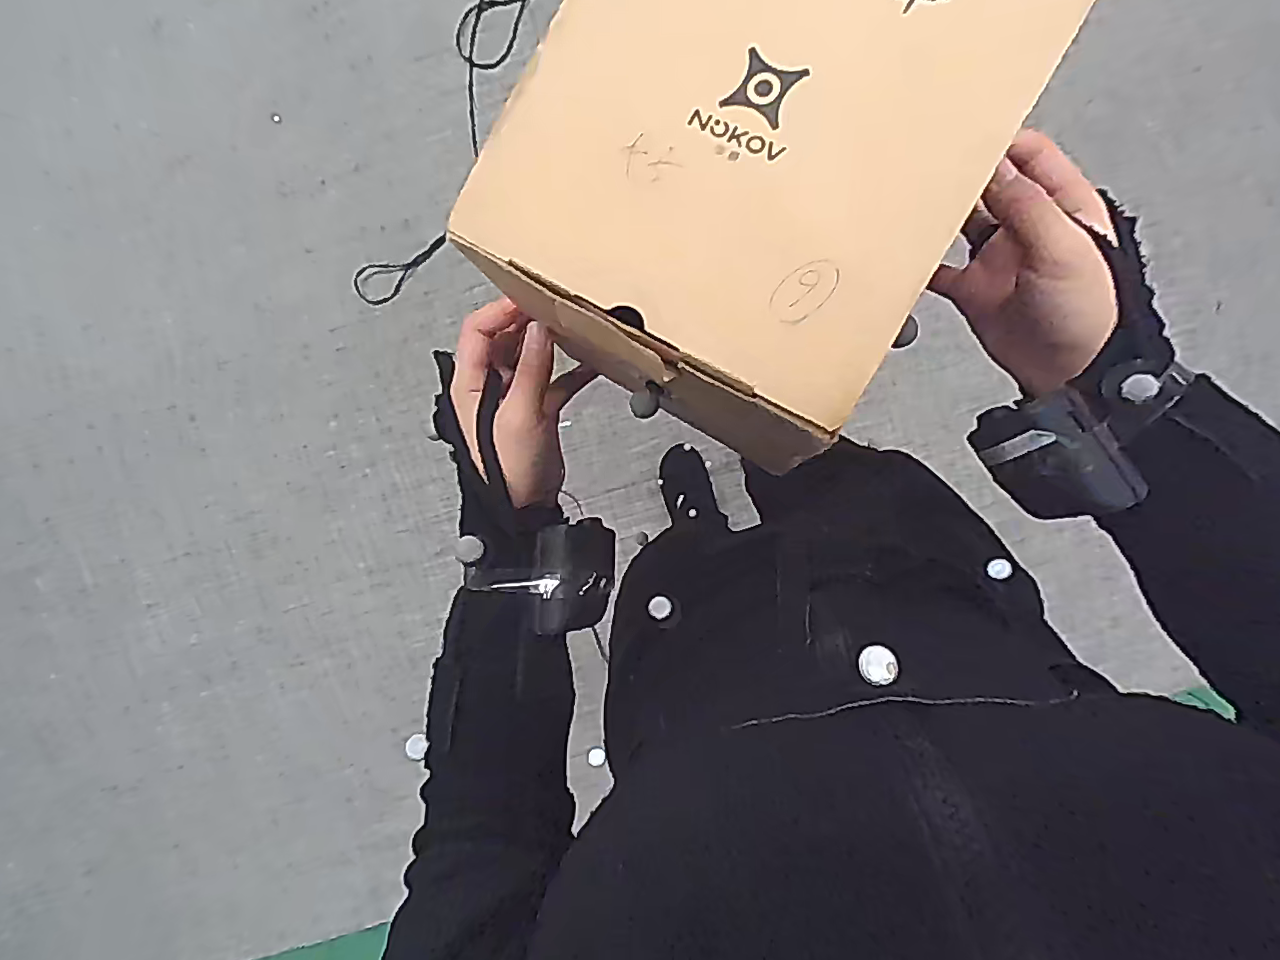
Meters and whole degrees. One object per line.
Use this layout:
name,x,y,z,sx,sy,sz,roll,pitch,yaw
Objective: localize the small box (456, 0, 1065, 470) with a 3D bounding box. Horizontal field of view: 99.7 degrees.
small box,0.049,-0.117,0.279,0.168,0.176,0.179,31,92,9
